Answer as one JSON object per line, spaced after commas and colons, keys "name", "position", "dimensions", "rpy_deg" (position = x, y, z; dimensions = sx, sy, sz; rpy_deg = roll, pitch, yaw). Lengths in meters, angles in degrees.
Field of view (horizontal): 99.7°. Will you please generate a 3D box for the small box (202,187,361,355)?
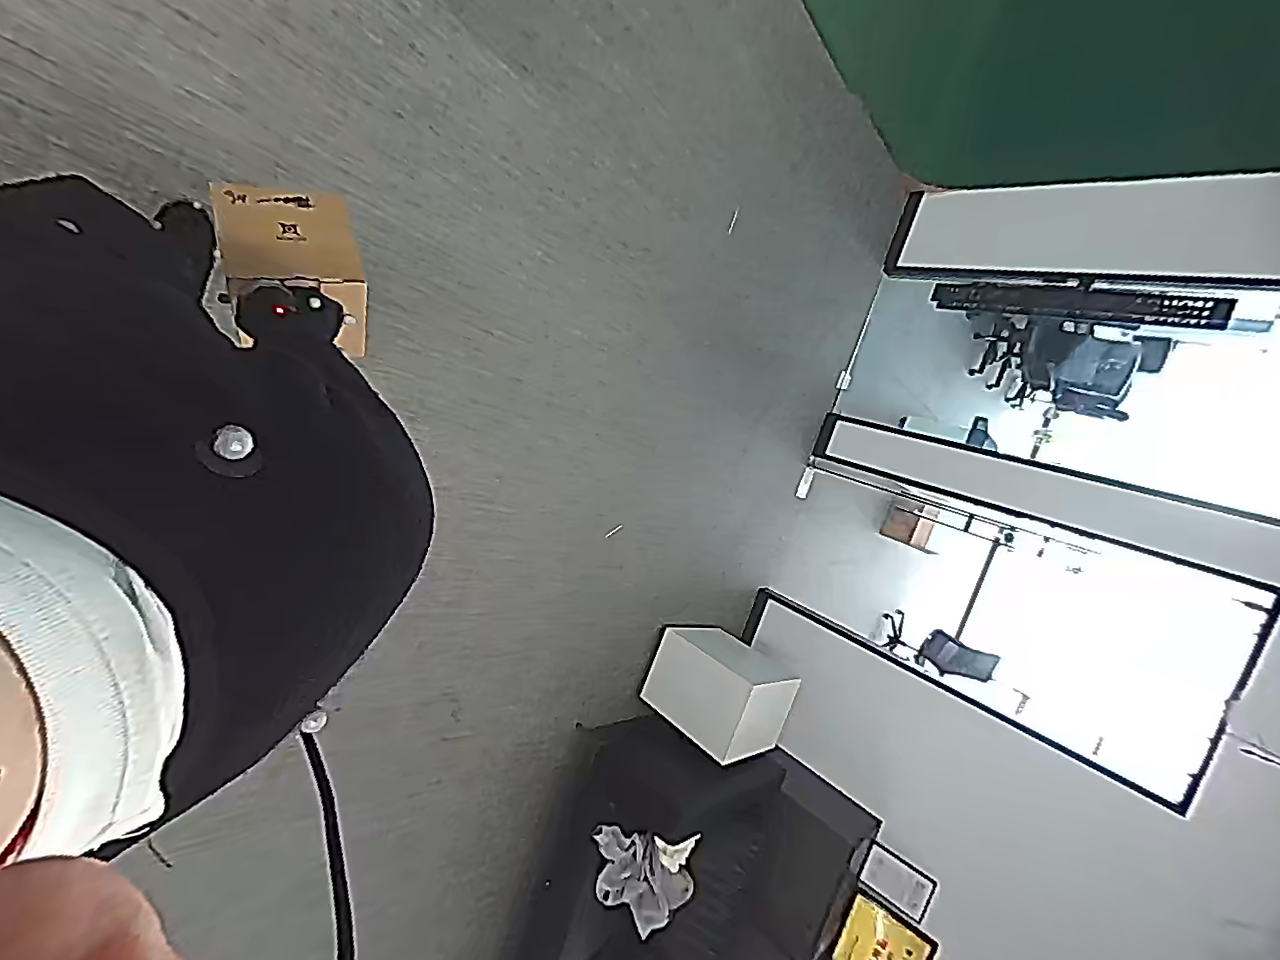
{"name": "small box", "position": [-0.530, -0.303, 0.817], "dimensions": [0.168, 0.179, 0.176], "rpy_deg": [-14, 160, -34]}
